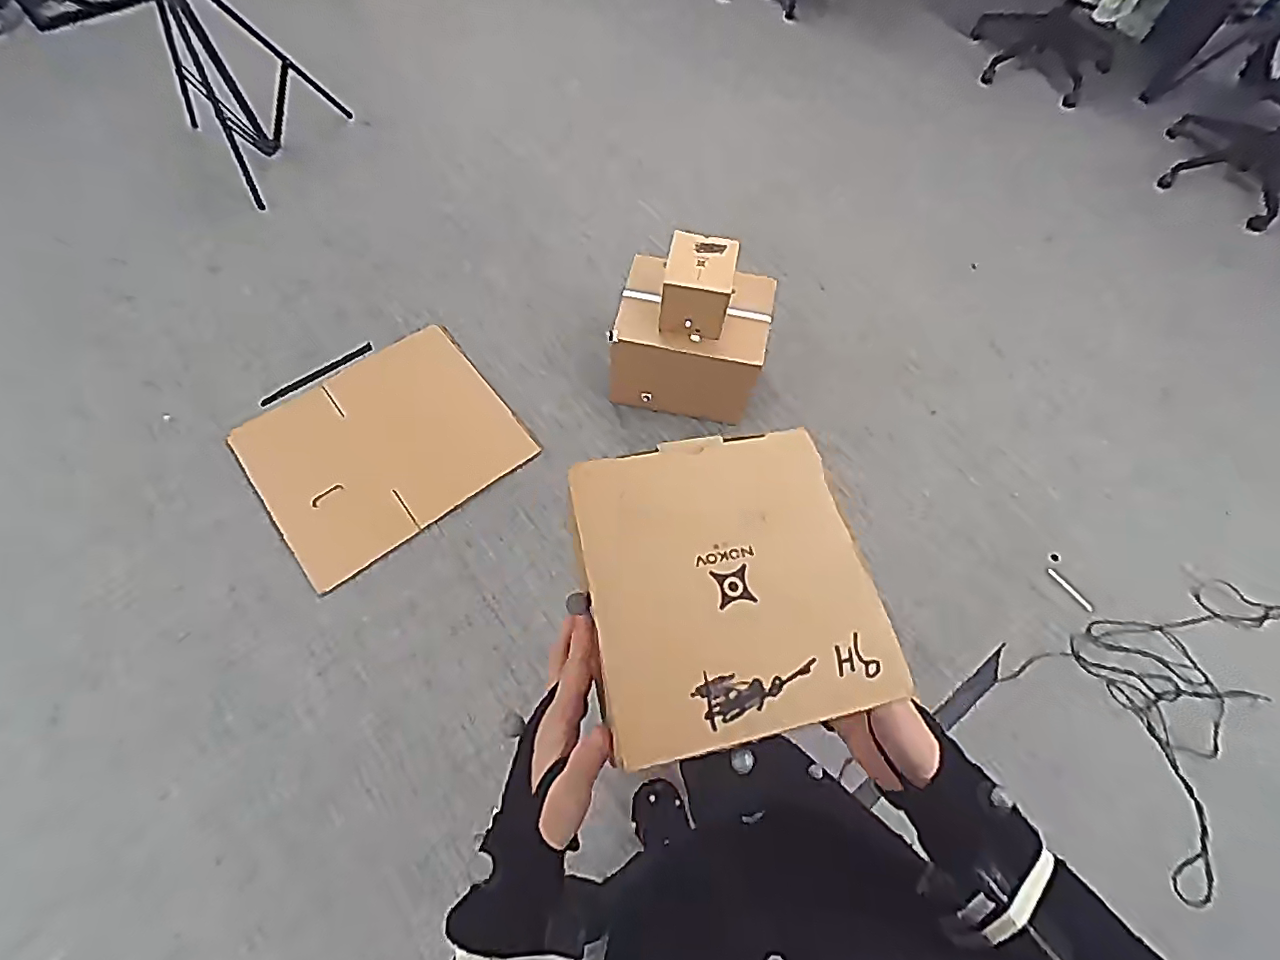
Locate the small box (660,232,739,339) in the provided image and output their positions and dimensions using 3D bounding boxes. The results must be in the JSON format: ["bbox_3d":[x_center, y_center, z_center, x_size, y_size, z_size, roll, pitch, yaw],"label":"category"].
[{"bbox_3d":[0.145,-0.491,1.374,0.168,0.176,0.179,10,66,3],"label":"small box"}]

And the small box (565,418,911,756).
[{"bbox_3d":[0.043,0.083,0.386,0.168,0.176,0.179,-11,64,-10],"label":"small box"}]
